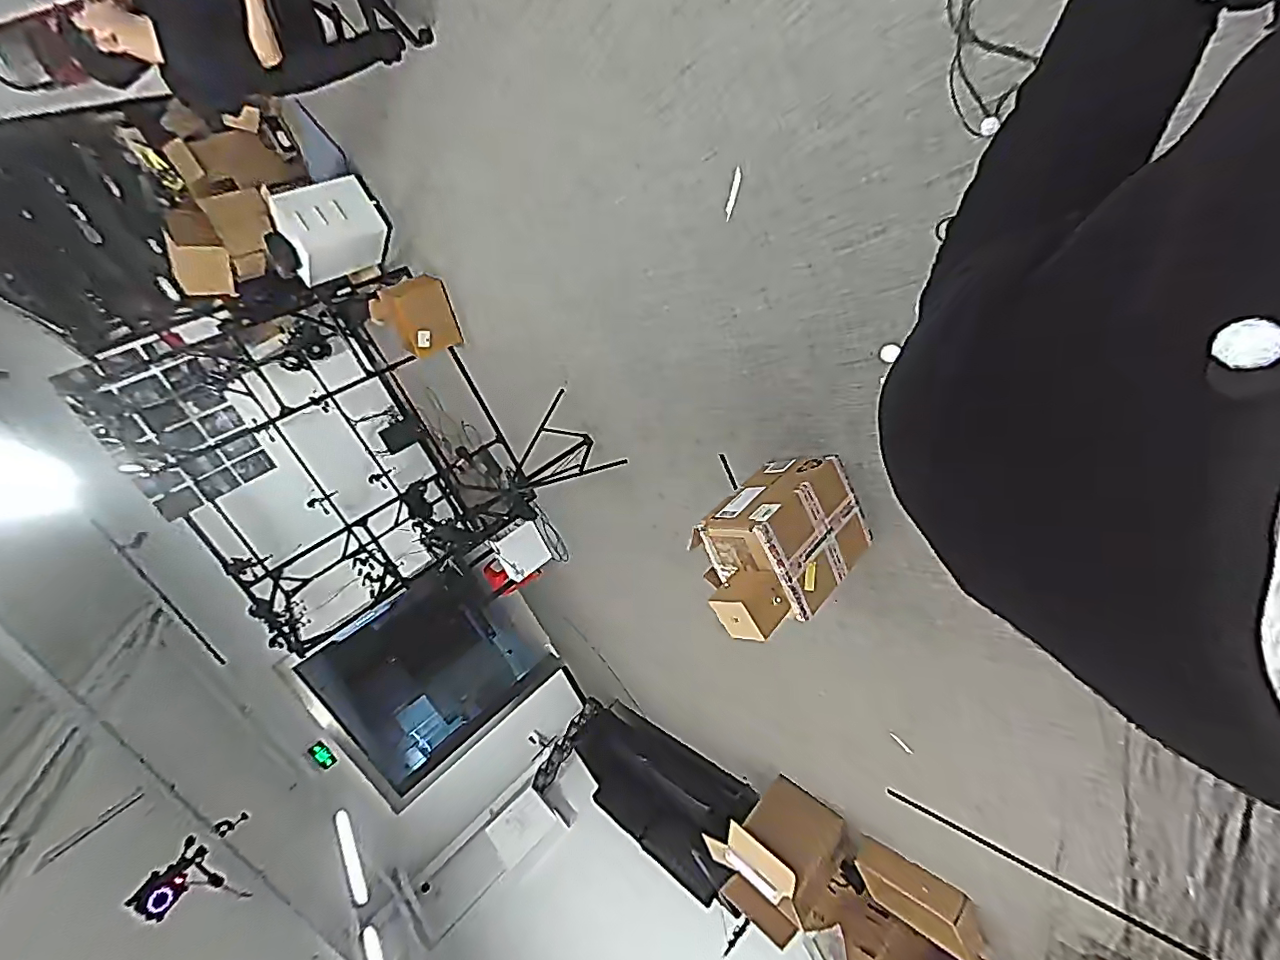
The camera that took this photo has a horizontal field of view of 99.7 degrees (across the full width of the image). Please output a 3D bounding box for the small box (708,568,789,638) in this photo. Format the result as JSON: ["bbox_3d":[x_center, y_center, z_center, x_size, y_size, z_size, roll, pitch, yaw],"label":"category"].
[{"bbox_3d":[0.377,0.420,1.862,0.179,0.176,0.168,-18,107,55],"label":"small box"}]
